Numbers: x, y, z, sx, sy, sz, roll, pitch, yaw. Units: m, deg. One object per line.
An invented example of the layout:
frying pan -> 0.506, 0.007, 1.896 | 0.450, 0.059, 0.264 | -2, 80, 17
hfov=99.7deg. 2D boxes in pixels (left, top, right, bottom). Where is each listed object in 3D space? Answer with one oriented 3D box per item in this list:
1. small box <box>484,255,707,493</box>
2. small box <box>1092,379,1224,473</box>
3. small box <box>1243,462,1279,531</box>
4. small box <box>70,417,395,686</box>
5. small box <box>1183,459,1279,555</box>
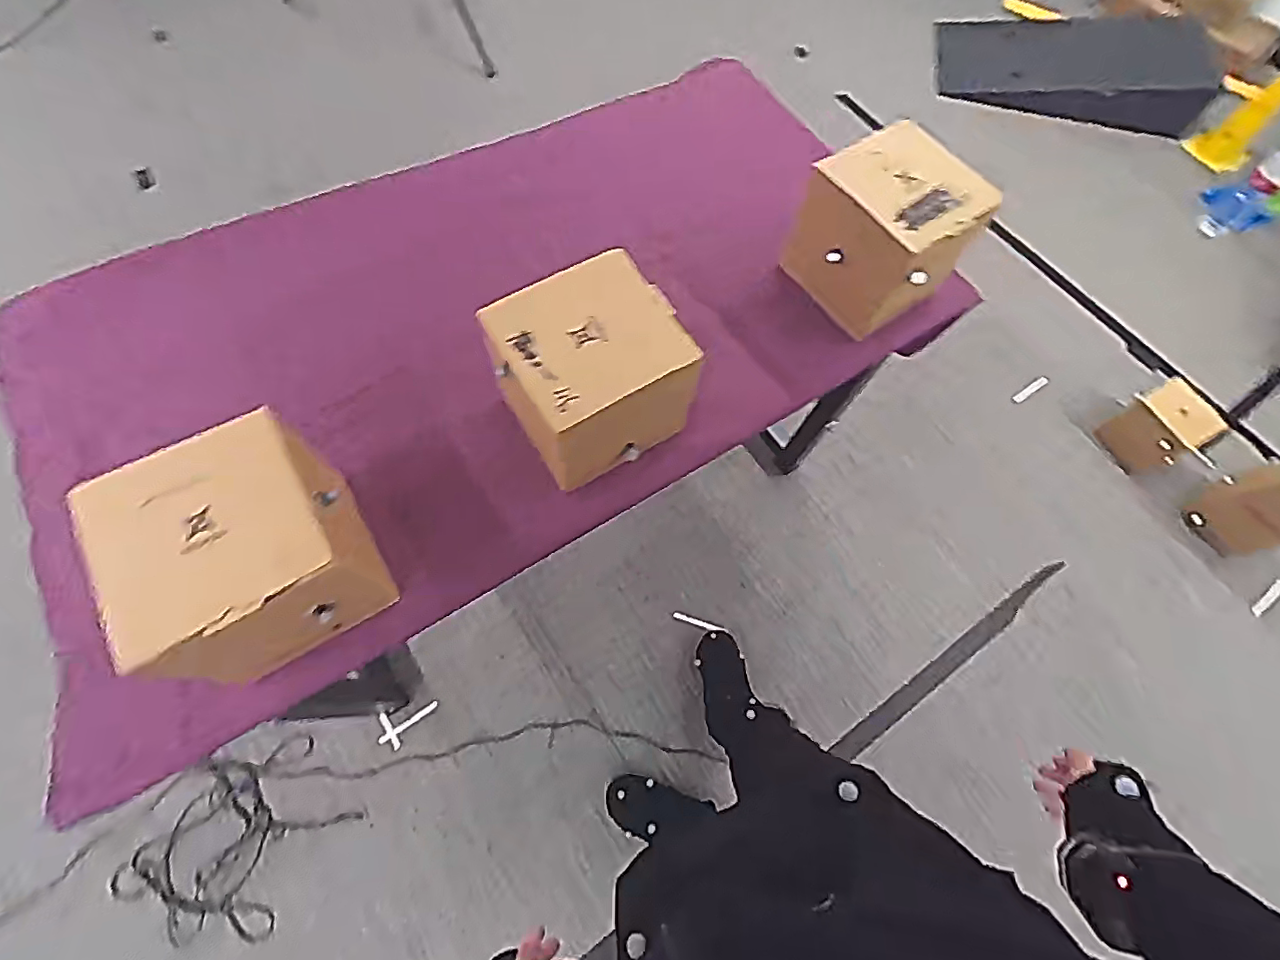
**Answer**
small box -> -0.052, -0.113, 0.621 | 0.179, 0.176, 0.168 | -30, 73, -15
small box -> 1.460, -0.149, 1.538 | 0.168, 0.176, 0.179 | -26, 72, -14
small box -> 1.643, 0.030, 1.299 | 0.168, 0.176, 0.179 | -30, 74, -14
small box -> -0.368, 0.078, 0.521 | 0.168, 0.176, 0.179 | -30, 72, -16
small box -> 1.643, 0.079, 1.458 | 0.179, 0.176, 0.168 | -32, 74, -16
